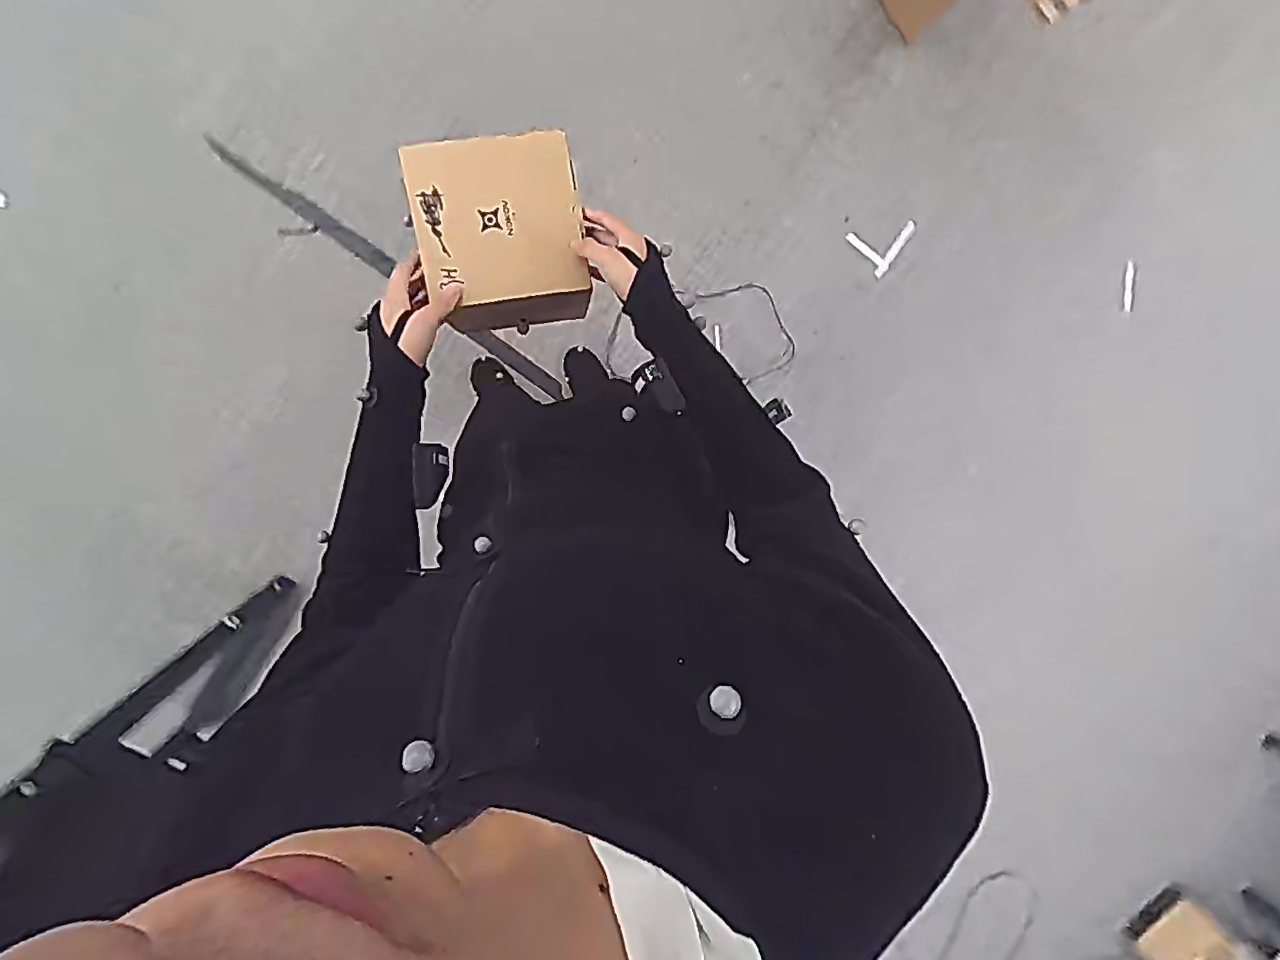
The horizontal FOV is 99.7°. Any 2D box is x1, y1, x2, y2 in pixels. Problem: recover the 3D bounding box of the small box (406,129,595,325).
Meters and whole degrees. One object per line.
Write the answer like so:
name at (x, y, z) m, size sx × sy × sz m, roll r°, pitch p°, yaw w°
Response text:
small box at (-0.156, -0.288, 0.646) m, size 0.179 × 0.176 × 0.168 m, roll -8°, pitch 97°, yaw -8°
